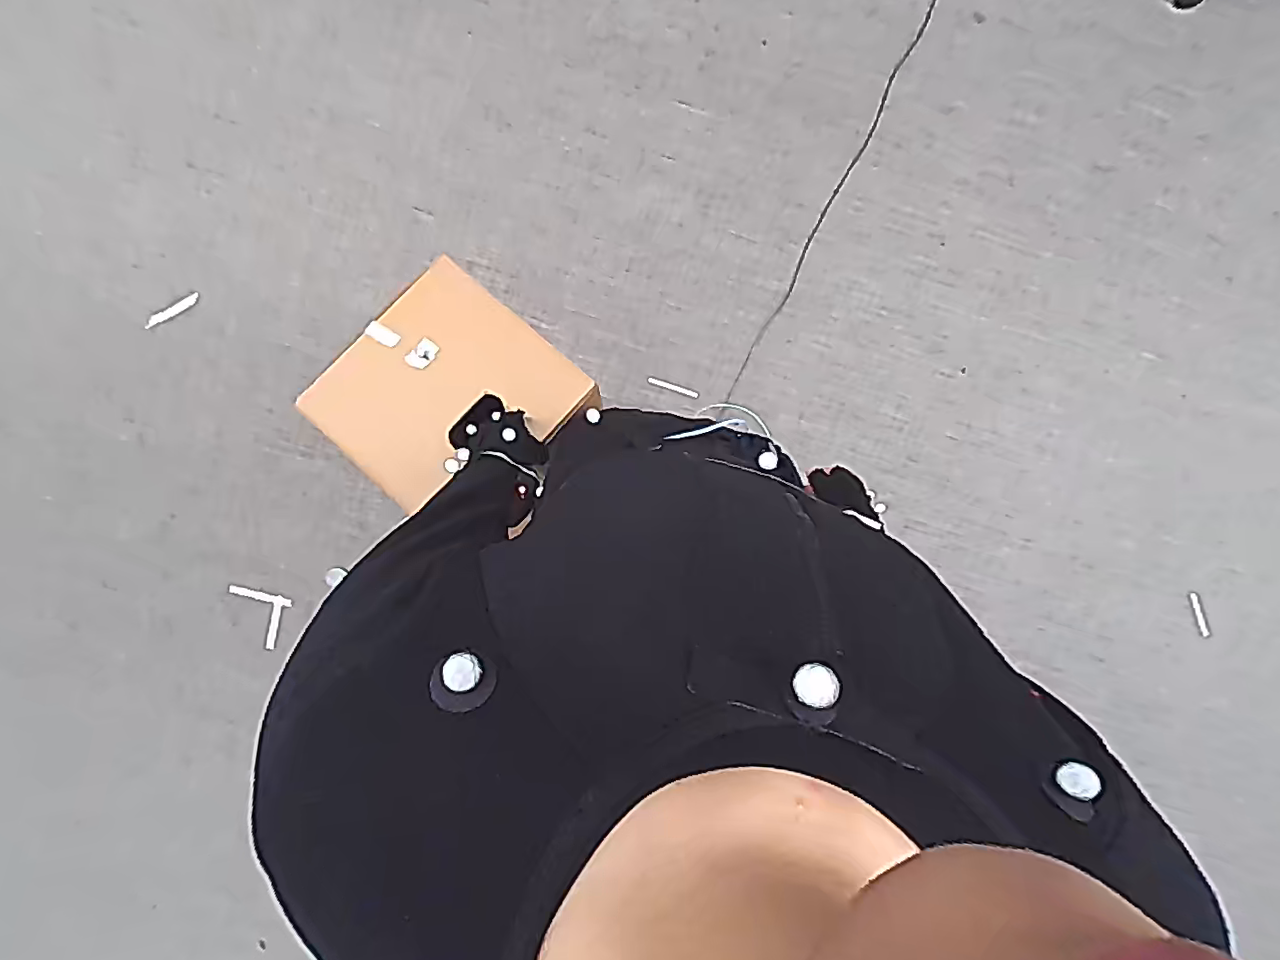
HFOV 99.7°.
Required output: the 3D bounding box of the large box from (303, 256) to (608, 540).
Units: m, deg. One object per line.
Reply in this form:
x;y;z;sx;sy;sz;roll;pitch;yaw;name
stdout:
-0.284;-0.110;0.976;0.320;0.408;0.320;44;84;6;large box
